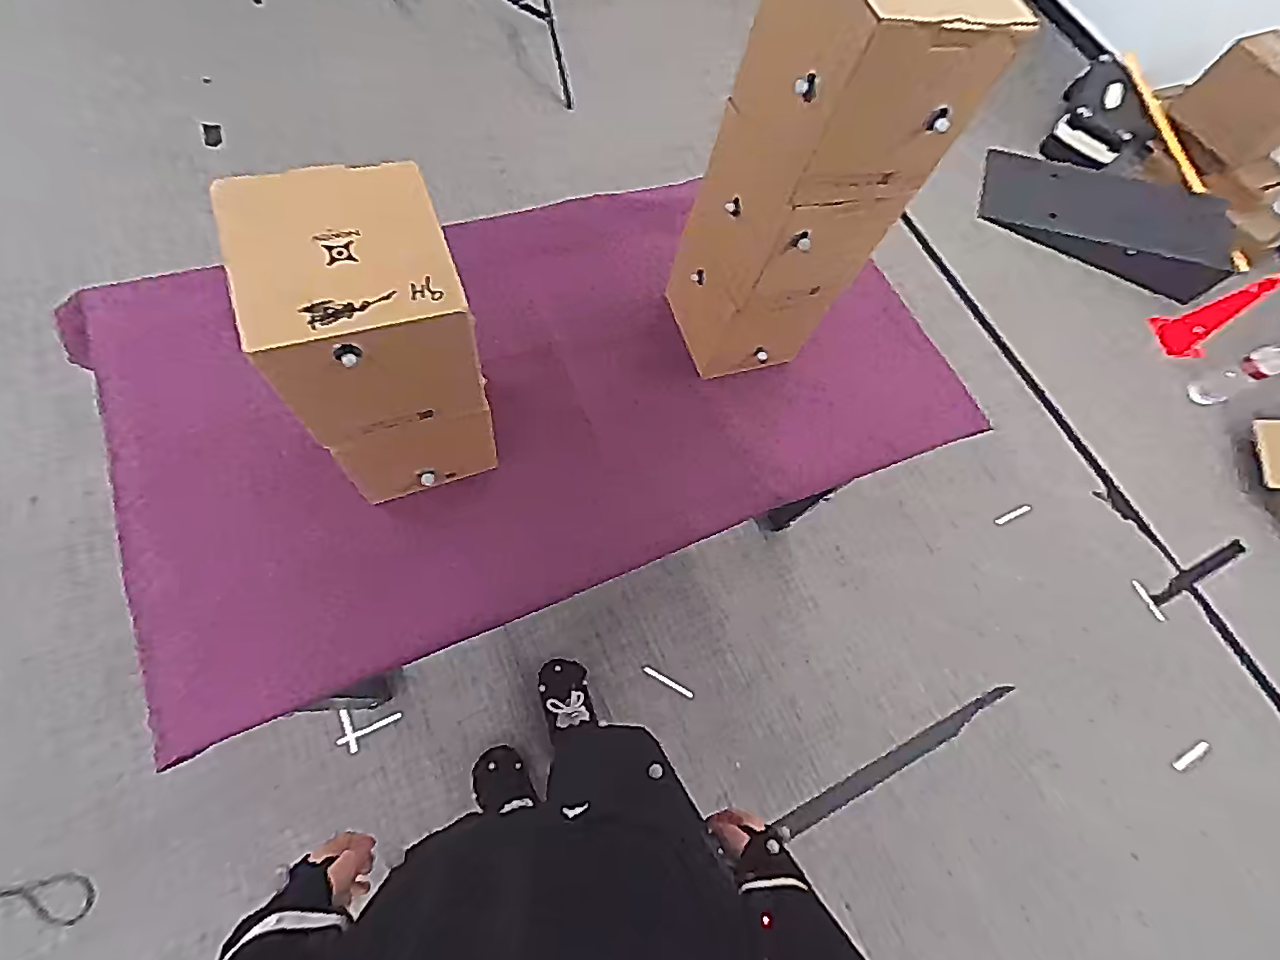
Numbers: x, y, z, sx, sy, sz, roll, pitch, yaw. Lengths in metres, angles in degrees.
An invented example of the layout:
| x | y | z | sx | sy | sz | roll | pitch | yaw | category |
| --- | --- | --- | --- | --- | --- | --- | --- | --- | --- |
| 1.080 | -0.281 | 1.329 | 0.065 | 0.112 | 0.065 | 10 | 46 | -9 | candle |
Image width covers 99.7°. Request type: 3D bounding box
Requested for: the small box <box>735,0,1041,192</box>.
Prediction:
| x | y | z | sx | sy | sz | roll | pitch | yaw | category |
| --- | --- | --- | --- | --- | --- | --- | --- | --- | --- |
| 0.215 | -0.403 | 0.520 | 0.168 | 0.176 | 0.179 | -13 | 70 | -16 | small box |

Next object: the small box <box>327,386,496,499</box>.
| x | y | z | sx | sy | sz | roll | pitch | yaw | category |
| --- | --- | --- | --- | --- | --- | --- | --- | --- | --- |
| -0.283 | -0.100 | 0.662 | 0.168 | 0.176 | 0.179 | -18 | 74 | -17 | small box |

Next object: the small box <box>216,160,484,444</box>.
| x | y | z | sx | sy | sz | roll | pitch | yaw | category |
| --- | --- | --- | --- | --- | --- | --- | --- | --- | --- |
| -0.256 | -0.160 | 0.511 | 0.168 | 0.176 | 0.179 | -18 | 72 | -17 | small box |

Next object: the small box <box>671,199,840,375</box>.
| x | y | z | sx | sy | sz | roll | pitch | yaw | category |
| --- | --- | --- | --- | --- | --- | --- | --- | --- | --- |
| 0.161 | -0.288 | 0.821 | 0.168 | 0.176 | 0.179 | -15 | 72 | -15 | small box |
